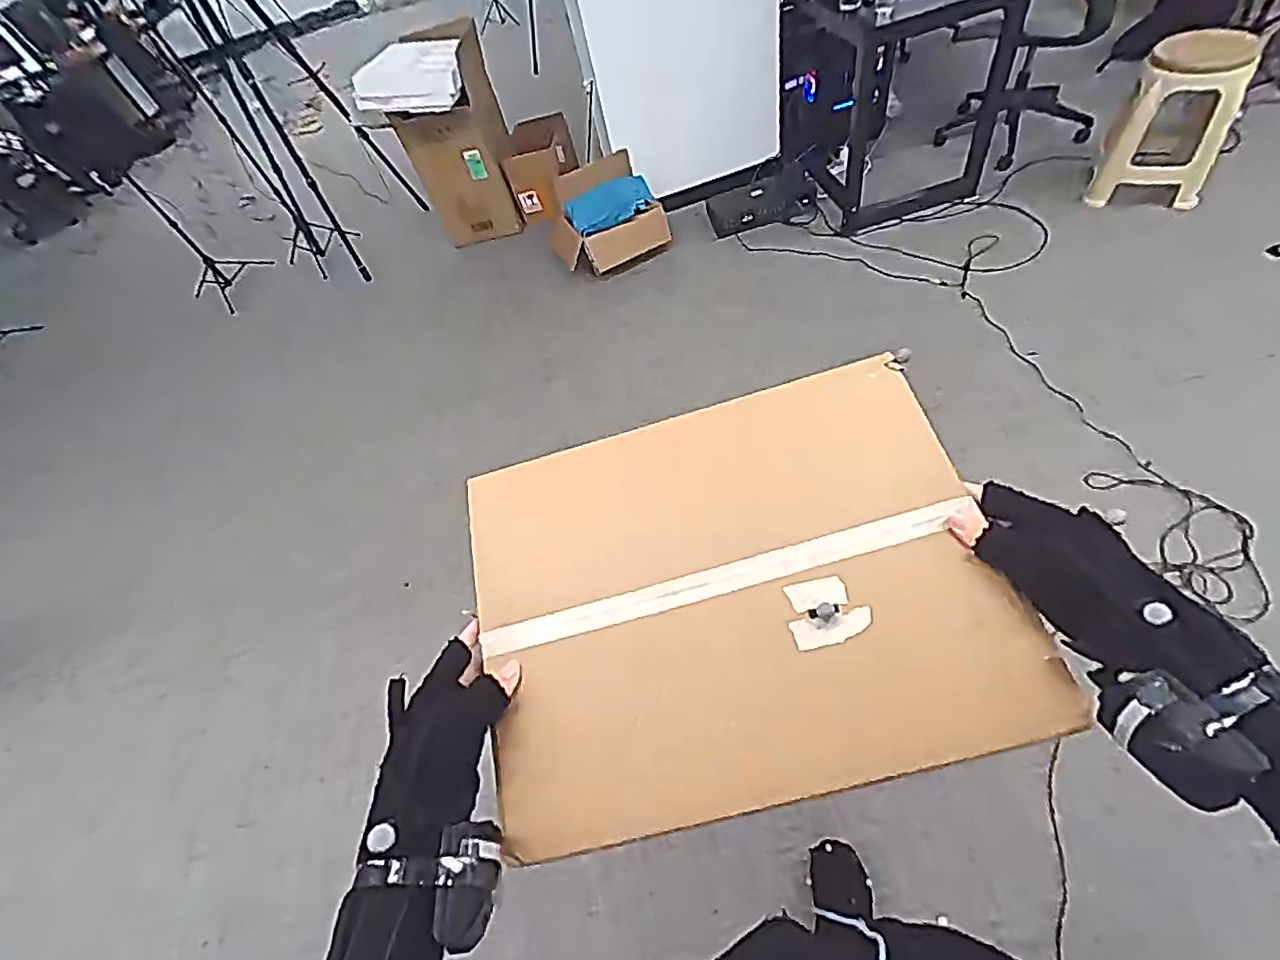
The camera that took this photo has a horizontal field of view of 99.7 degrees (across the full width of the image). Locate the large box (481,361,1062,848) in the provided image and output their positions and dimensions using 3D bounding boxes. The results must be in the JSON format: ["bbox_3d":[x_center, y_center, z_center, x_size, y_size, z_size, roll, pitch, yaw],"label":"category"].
[{"bbox_3d":[0.095,0.140,0.580,0.408,0.320,0.320,-17,65,4],"label":"large box"}]
